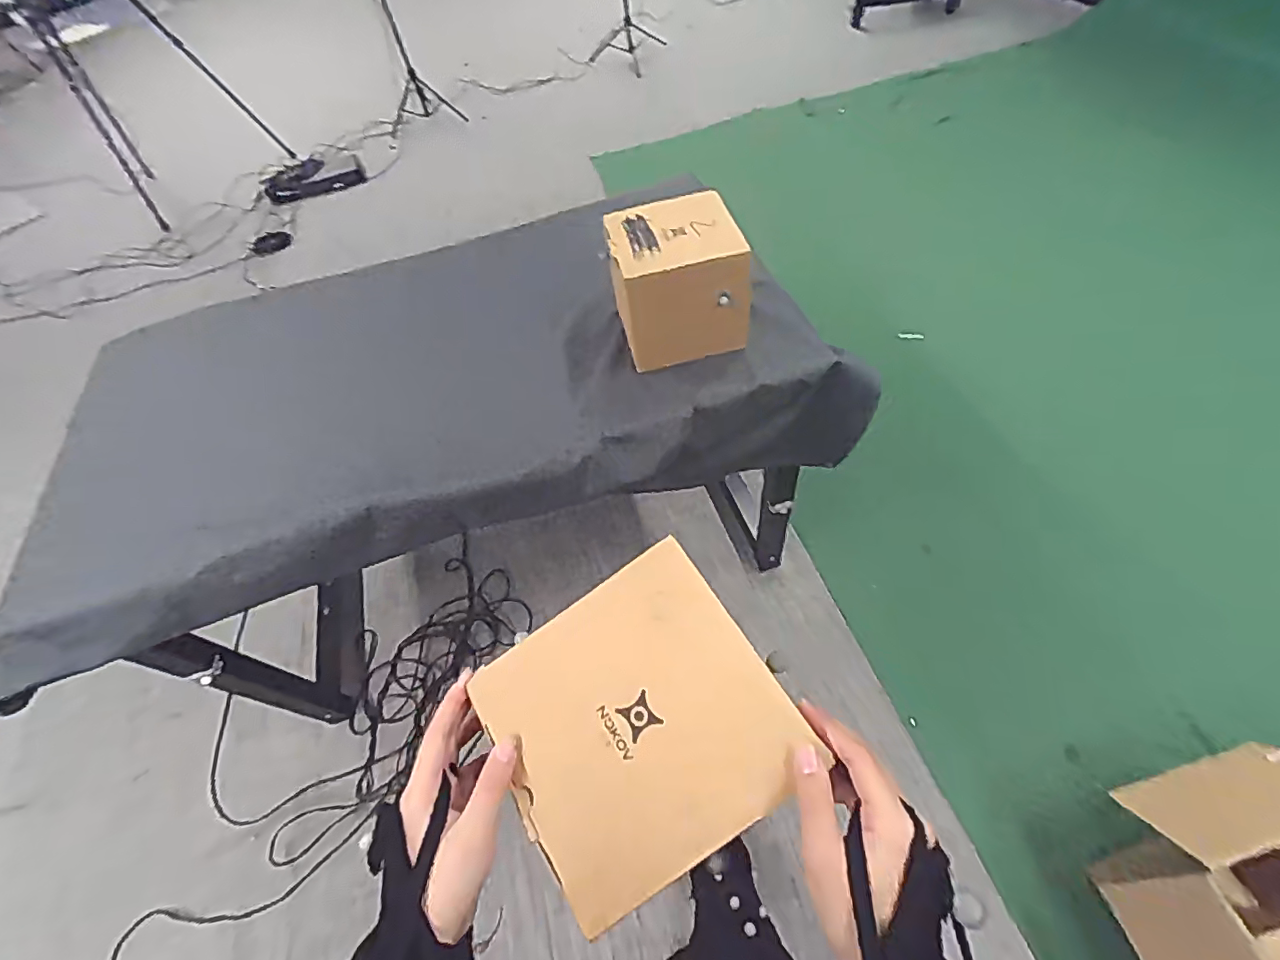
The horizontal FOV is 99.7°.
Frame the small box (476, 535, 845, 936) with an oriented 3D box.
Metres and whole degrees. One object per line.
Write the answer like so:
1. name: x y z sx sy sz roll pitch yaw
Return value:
1. small box: 0.019 0.168 0.404 0.179 0.176 0.168 -36 68 0
